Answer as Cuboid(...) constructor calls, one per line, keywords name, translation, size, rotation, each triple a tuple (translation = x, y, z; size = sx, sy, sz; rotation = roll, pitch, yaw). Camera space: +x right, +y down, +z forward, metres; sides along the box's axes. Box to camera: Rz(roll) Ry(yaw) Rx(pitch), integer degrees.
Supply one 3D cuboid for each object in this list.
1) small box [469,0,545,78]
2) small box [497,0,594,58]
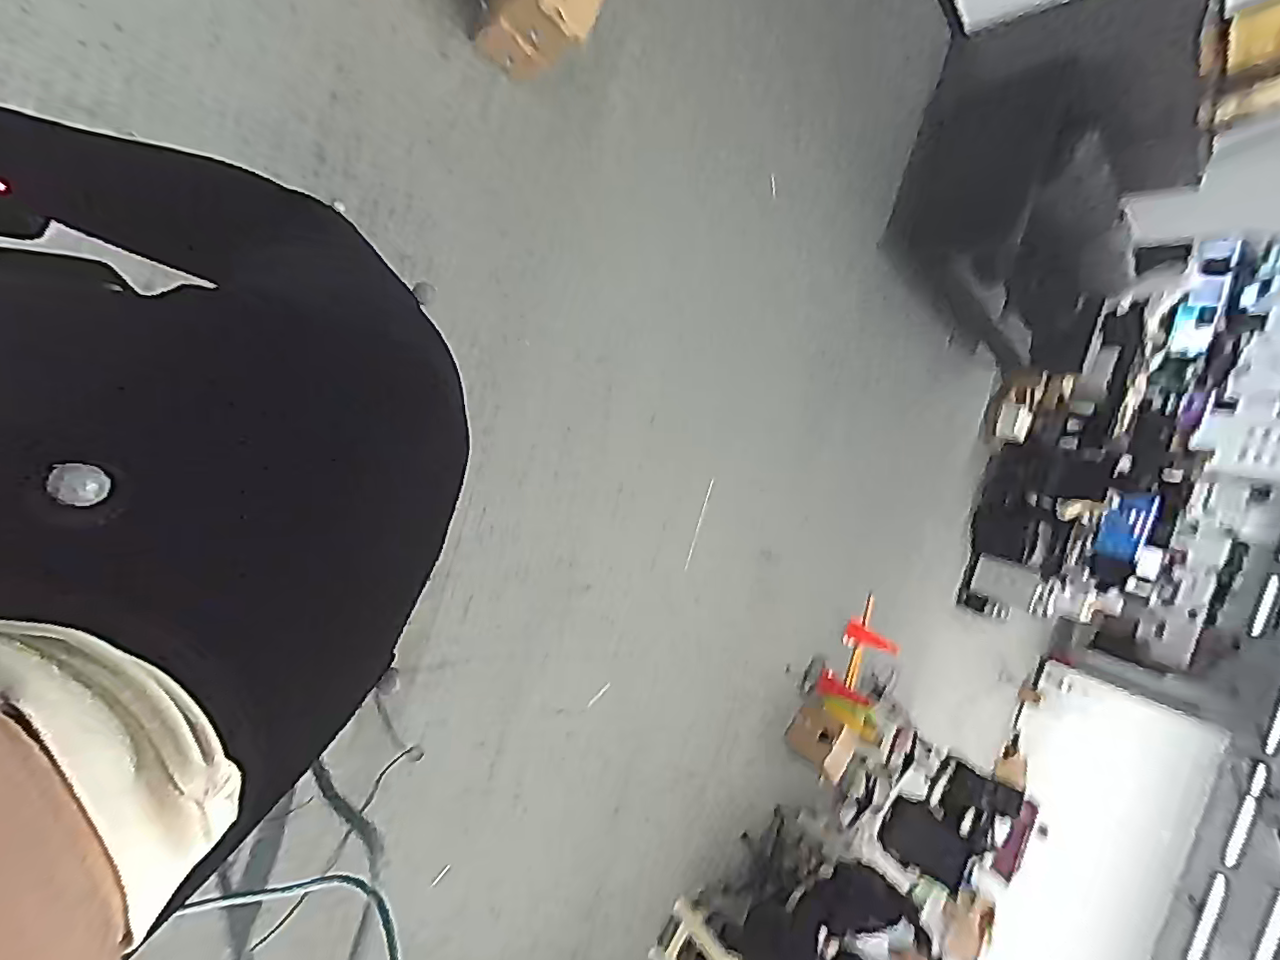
Cuboid(name="small box", translation=(-0.342, -1.249, 1.473), size=(0.168, 0.176, 0.179), rotation=(19, 91, -44))
Cuboid(name="small box", translation=(-0.230, -1.221, 1.354), size=(0.168, 0.176, 0.179), rotation=(25, 86, -43))
